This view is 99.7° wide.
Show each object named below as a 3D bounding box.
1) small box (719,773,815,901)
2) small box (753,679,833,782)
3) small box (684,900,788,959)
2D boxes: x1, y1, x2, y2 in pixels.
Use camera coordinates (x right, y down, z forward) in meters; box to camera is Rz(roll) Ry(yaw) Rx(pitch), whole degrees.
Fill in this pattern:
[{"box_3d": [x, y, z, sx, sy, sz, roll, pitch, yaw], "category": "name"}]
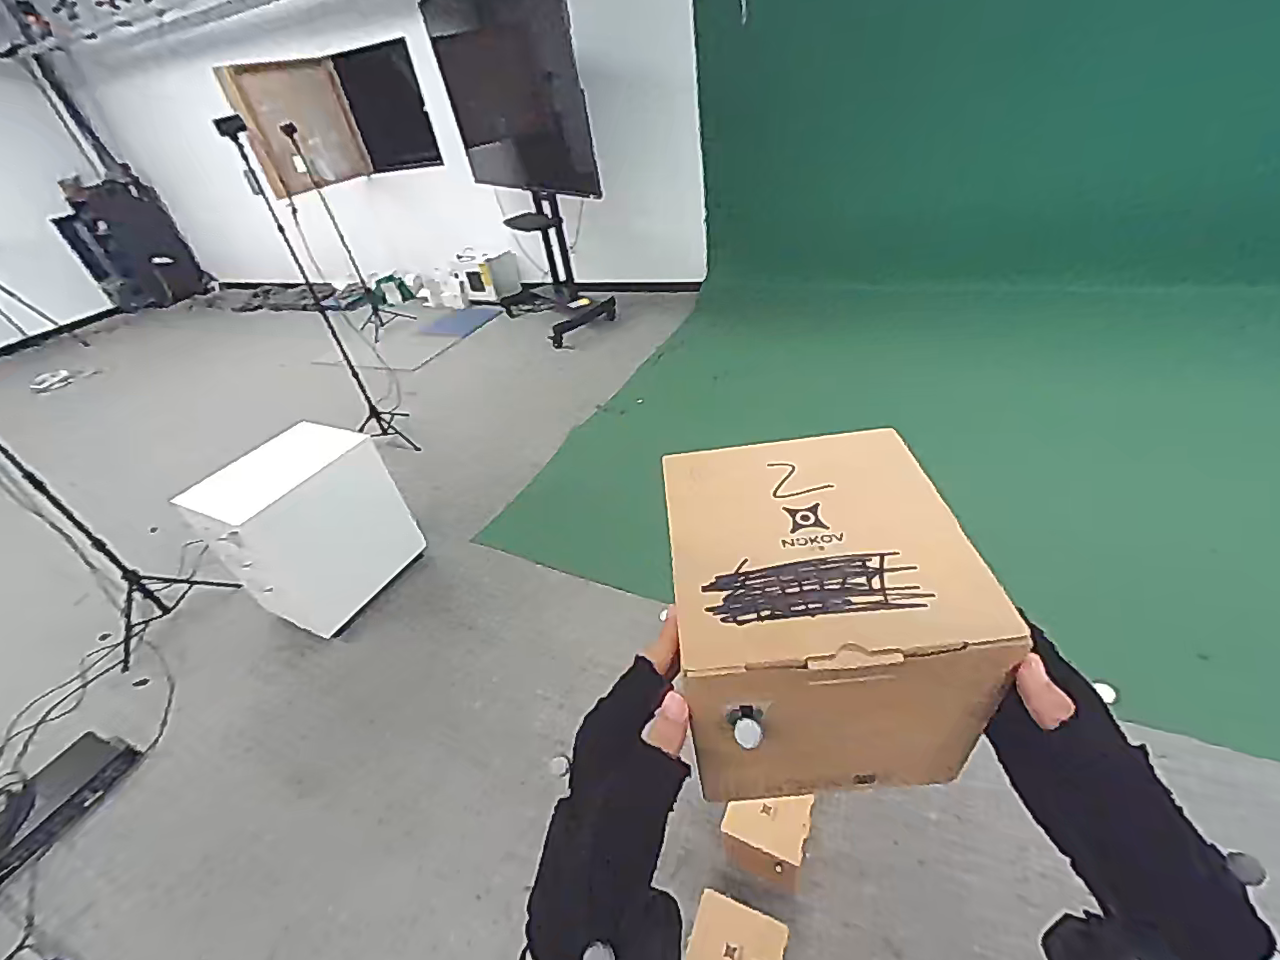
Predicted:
[{"box_3d": [0.293, 0.821, 1.243, 0.179, 0.176, 0.168, 11, 40, 25], "category": "small box"}, {"box_3d": [0.404, 0.665, 1.431, 0.179, 0.176, 0.168, 8, 39, 23], "category": "small box"}, {"box_3d": [0.182, 0.974, 1.052, 0.179, 0.176, 0.168, 10, 41, 23], "category": "small box"}]
